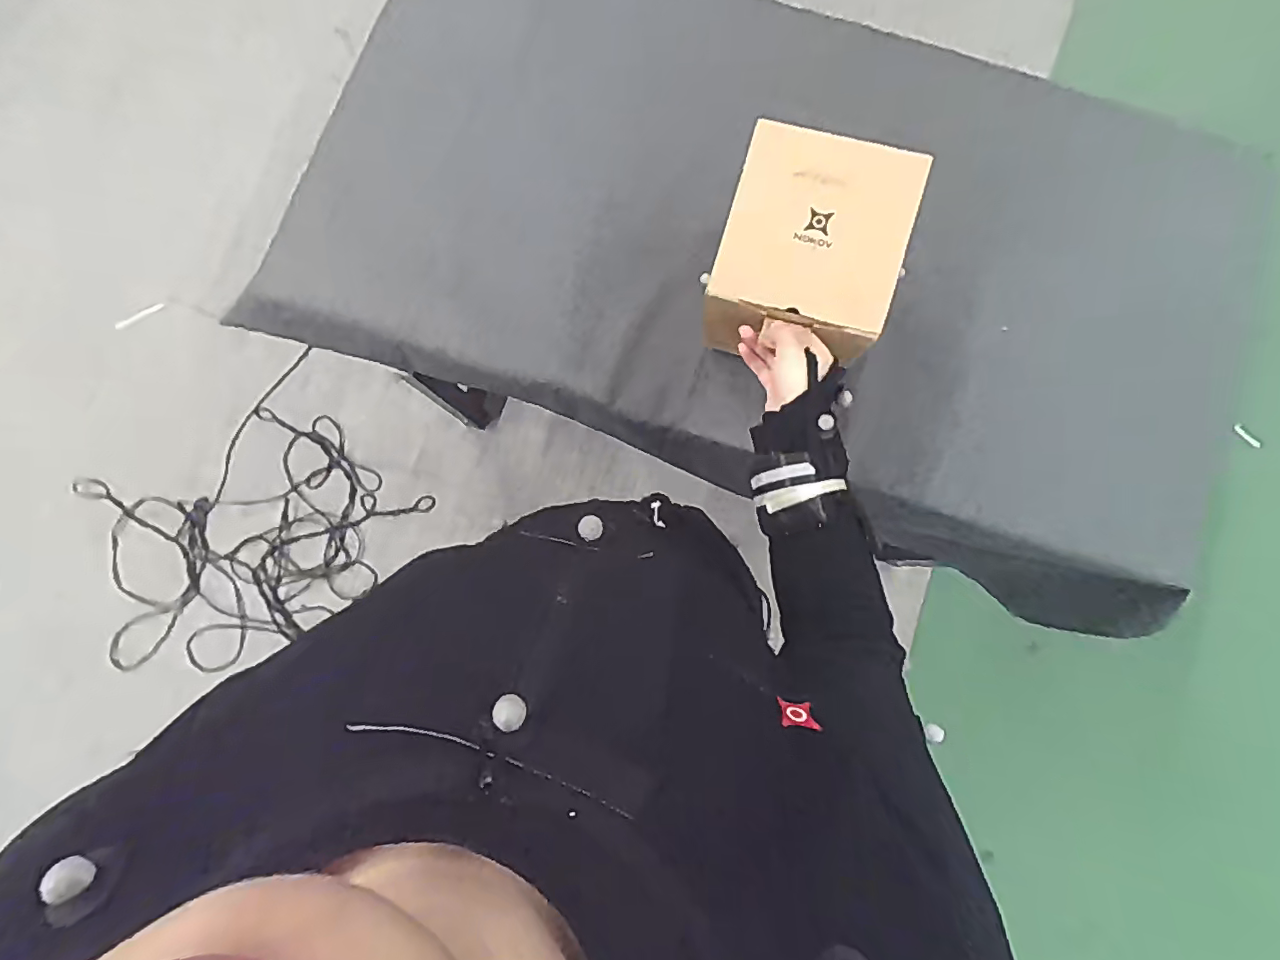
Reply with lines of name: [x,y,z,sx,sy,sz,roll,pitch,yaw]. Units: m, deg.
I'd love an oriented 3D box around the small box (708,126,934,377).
small box: [0.173,-0.223,0.574,0.168,0.176,0.179,16,89,5]
